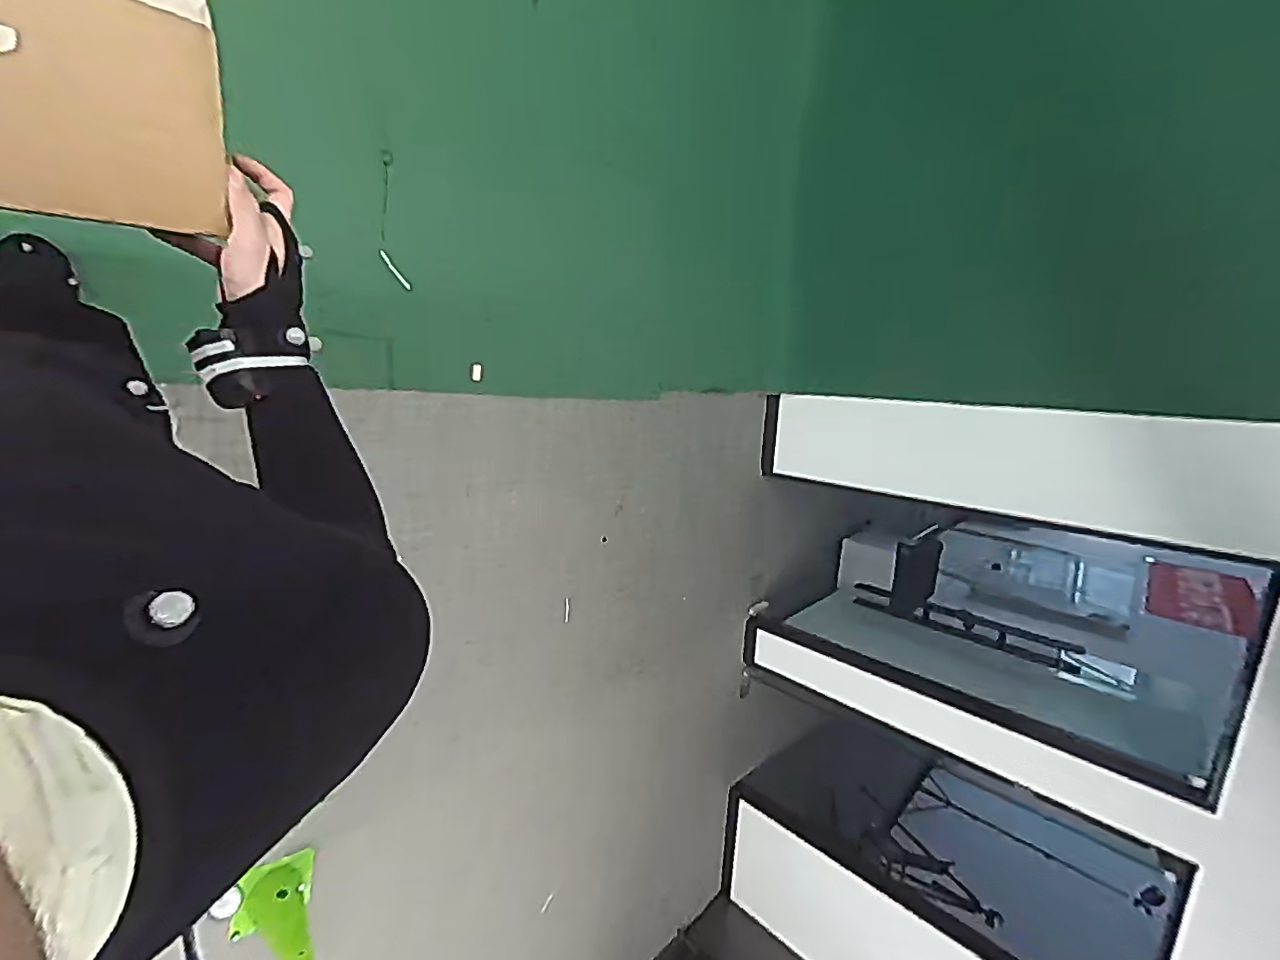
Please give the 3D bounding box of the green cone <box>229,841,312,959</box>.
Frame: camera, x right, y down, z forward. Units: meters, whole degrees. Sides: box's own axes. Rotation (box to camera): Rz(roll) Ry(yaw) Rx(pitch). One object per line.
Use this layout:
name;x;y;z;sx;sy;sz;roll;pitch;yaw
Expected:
green cone;-0.968;1.225;1.485;0.200;0.368;0.202;1;98;-47
